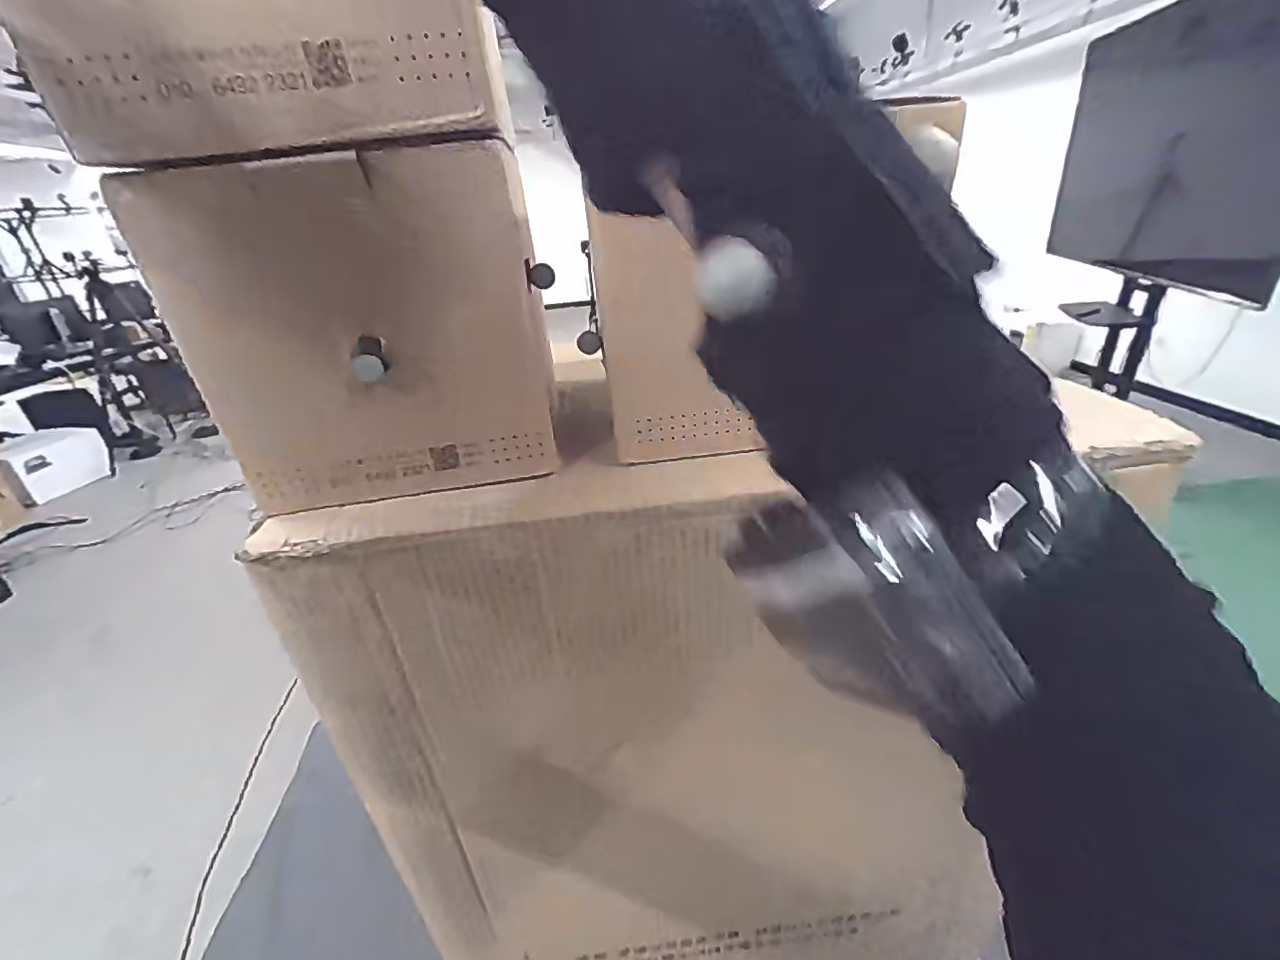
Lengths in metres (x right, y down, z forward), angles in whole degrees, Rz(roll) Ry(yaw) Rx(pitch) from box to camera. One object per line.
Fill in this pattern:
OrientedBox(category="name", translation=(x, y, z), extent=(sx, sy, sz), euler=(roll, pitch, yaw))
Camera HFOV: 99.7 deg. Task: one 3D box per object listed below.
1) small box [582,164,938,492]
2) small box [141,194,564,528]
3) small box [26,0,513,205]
OrientedBox(category="small box", translation=(0.058, -0.107, 0.363), extent=(0.179, 0.176, 0.168), euler=(-6, 28, -2))
OrientedBox(category="small box", translation=(-0.148, -0.082, 0.357), extent=(0.168, 0.176, 0.179), euler=(-10, 29, -7))
OrientedBox(category="small box", translation=(-0.161, -0.238, 0.266), extent=(0.168, 0.176, 0.179), euler=(-8, 27, -6))
